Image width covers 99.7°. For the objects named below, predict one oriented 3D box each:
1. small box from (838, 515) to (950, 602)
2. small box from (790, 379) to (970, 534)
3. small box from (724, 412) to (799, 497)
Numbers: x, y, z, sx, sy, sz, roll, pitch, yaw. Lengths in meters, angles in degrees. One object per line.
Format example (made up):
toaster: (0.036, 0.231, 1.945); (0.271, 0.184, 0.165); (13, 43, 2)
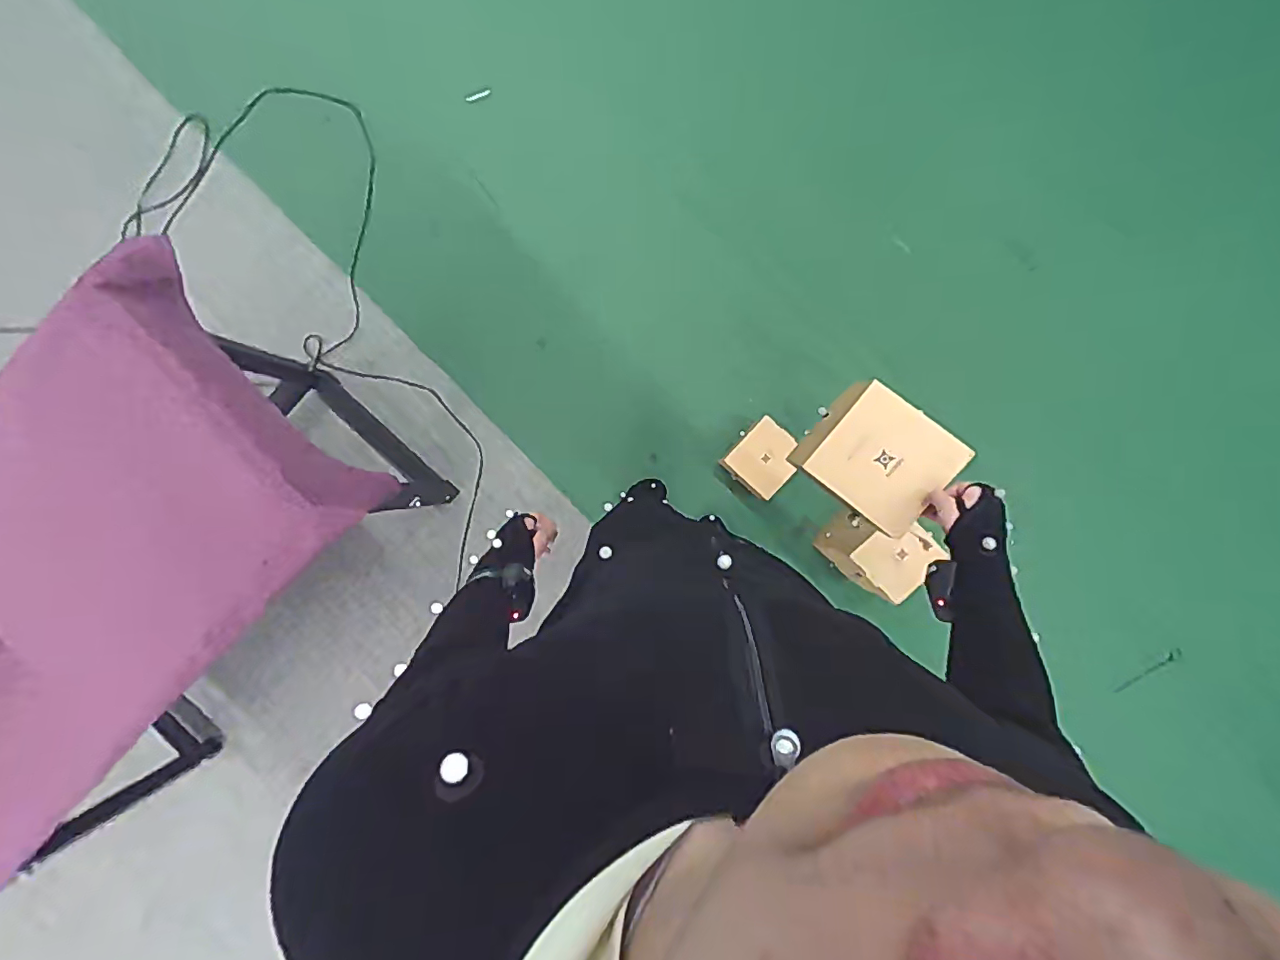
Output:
small box: (0.626, 0.176, 1.364); (0.179, 0.176, 0.168); (-43, 89, 4)
small box: (0.367, -0.043, 0.864); (0.179, 0.176, 0.168); (38, 99, 1)
small box: (0.354, -0.067, 1.544); (0.168, 0.176, 0.179); (43, 91, 2)
